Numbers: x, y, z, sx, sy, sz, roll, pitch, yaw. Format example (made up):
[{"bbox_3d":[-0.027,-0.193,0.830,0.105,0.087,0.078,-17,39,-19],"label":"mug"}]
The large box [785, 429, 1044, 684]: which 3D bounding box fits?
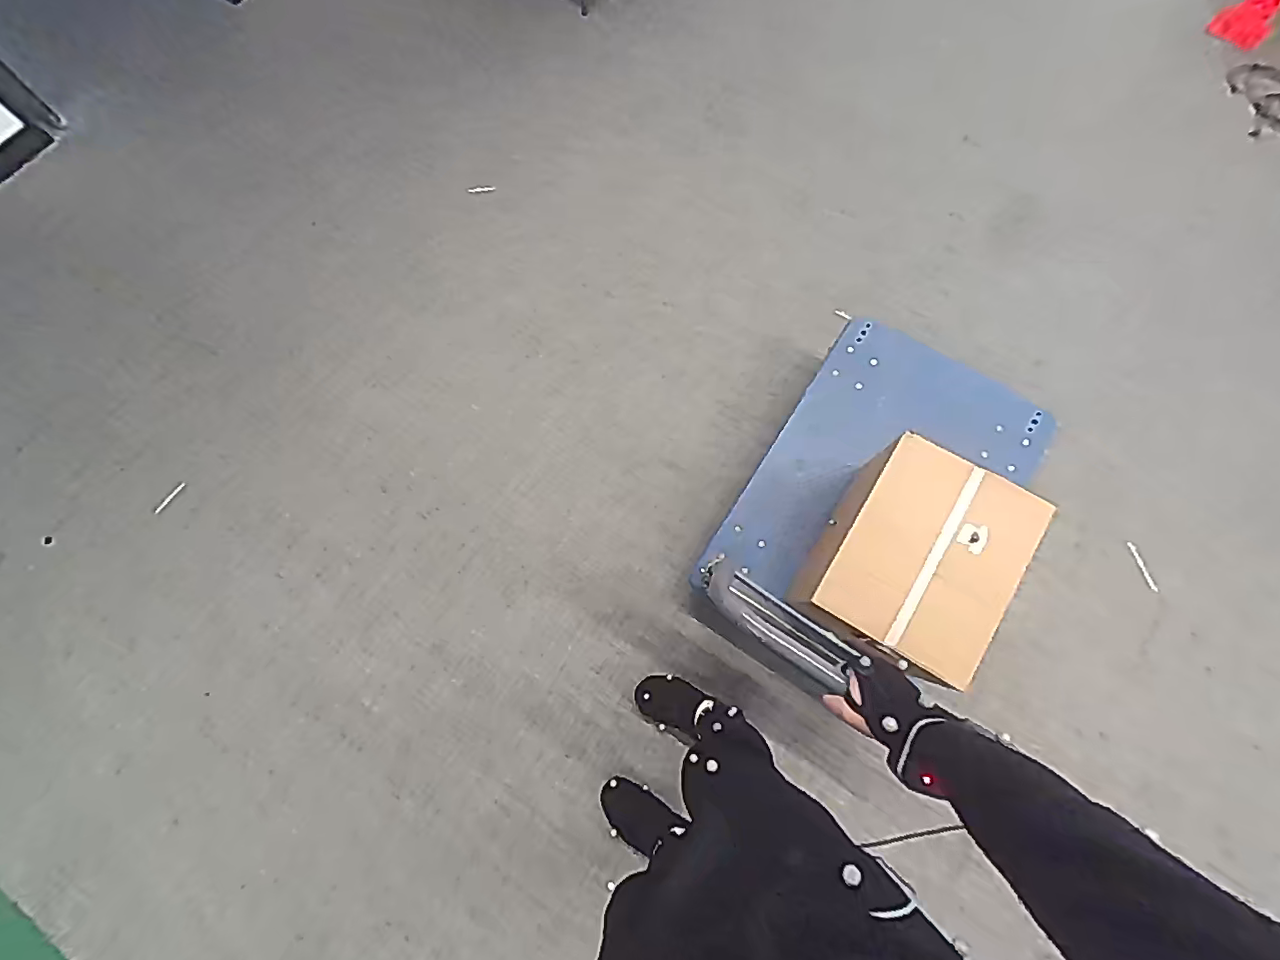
[{"bbox_3d":[0.566,0.170,1.186,0.320,0.320,0.408,31,81,10],"label":"large box"}]
